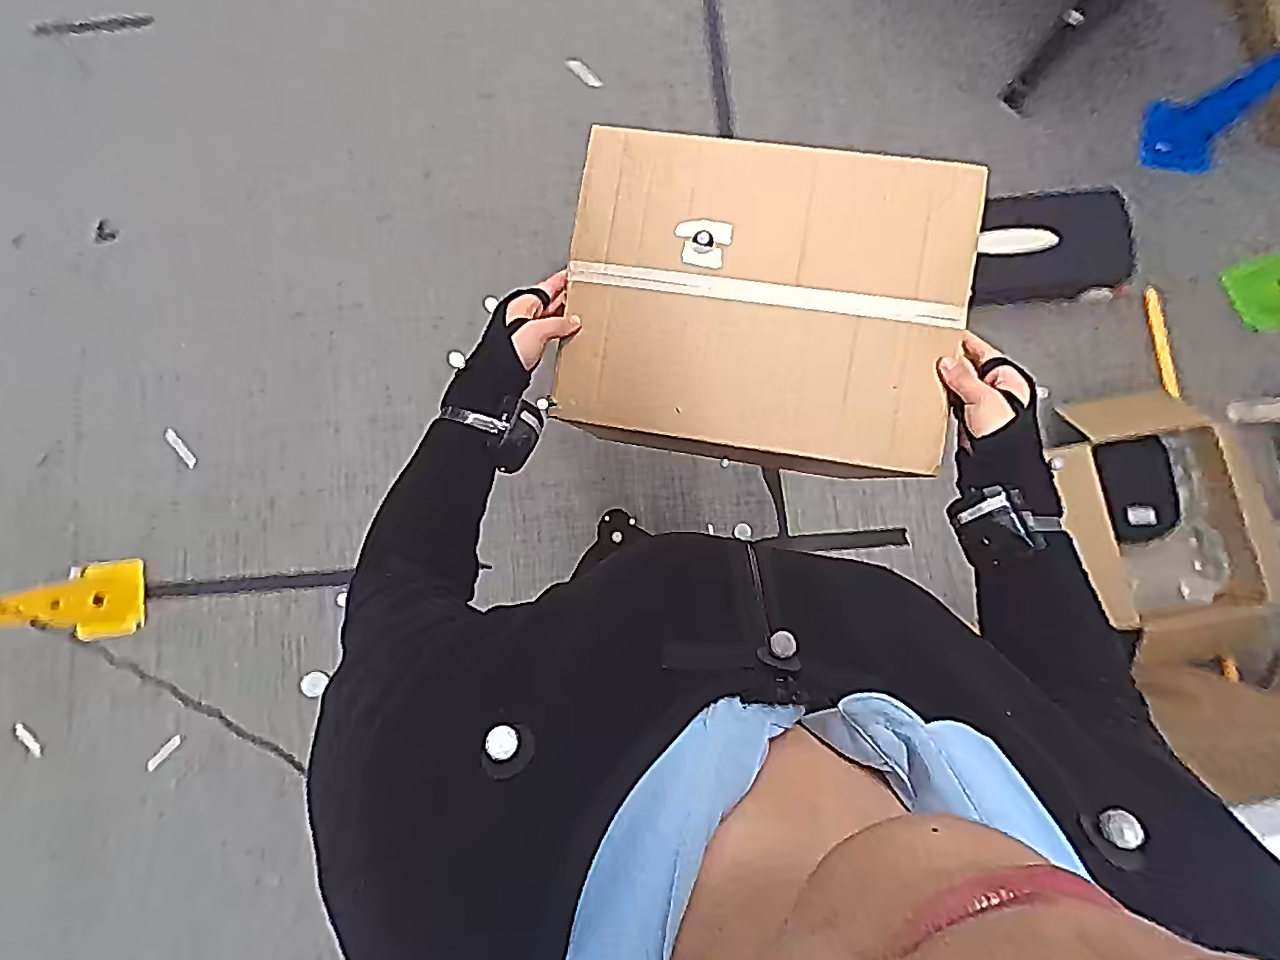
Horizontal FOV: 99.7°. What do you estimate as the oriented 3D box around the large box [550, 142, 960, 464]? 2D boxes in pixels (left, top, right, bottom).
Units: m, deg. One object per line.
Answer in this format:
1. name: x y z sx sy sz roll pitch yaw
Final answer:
1. large box: 0.130 -0.194 0.716 0.408 0.320 0.320 7 90 5
